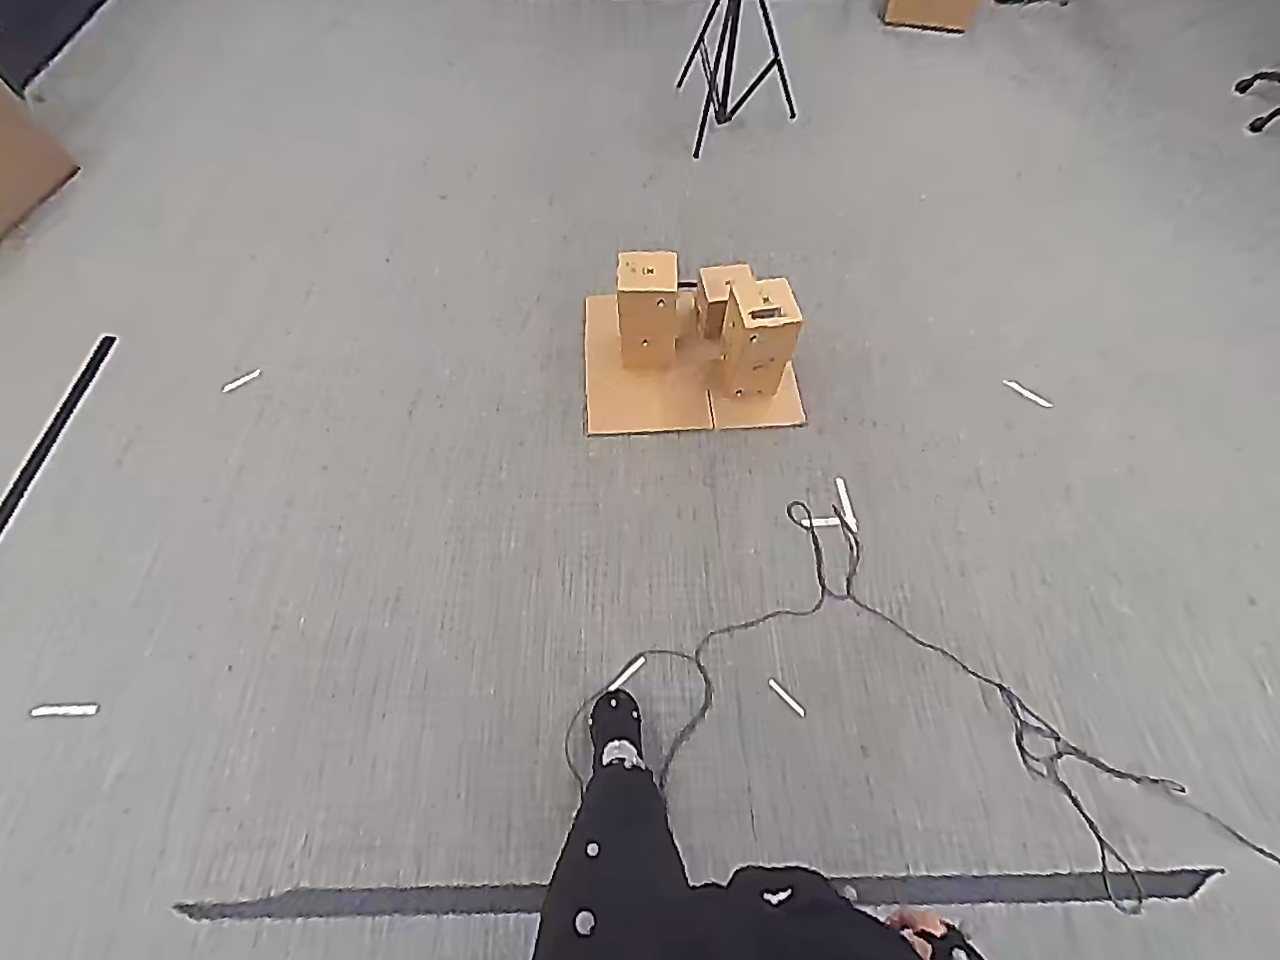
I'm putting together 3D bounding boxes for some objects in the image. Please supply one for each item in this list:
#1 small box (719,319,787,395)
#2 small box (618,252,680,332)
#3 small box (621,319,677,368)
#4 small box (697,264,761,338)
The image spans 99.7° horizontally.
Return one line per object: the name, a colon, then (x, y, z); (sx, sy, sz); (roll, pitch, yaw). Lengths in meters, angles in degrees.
small box: (0.355, -0.386, 1.727); (0.168, 0.176, 0.179); (-6, 61, -4)
small box: (0.027, -0.564, 1.635); (0.179, 0.176, 0.168); (1, 61, 2)
small box: (0.029, -0.484, 1.779); (0.179, 0.176, 0.168); (0, 61, 1)
small box: (0.298, -0.609, 1.851); (0.179, 0.176, 0.168); (-7, 60, -3)
